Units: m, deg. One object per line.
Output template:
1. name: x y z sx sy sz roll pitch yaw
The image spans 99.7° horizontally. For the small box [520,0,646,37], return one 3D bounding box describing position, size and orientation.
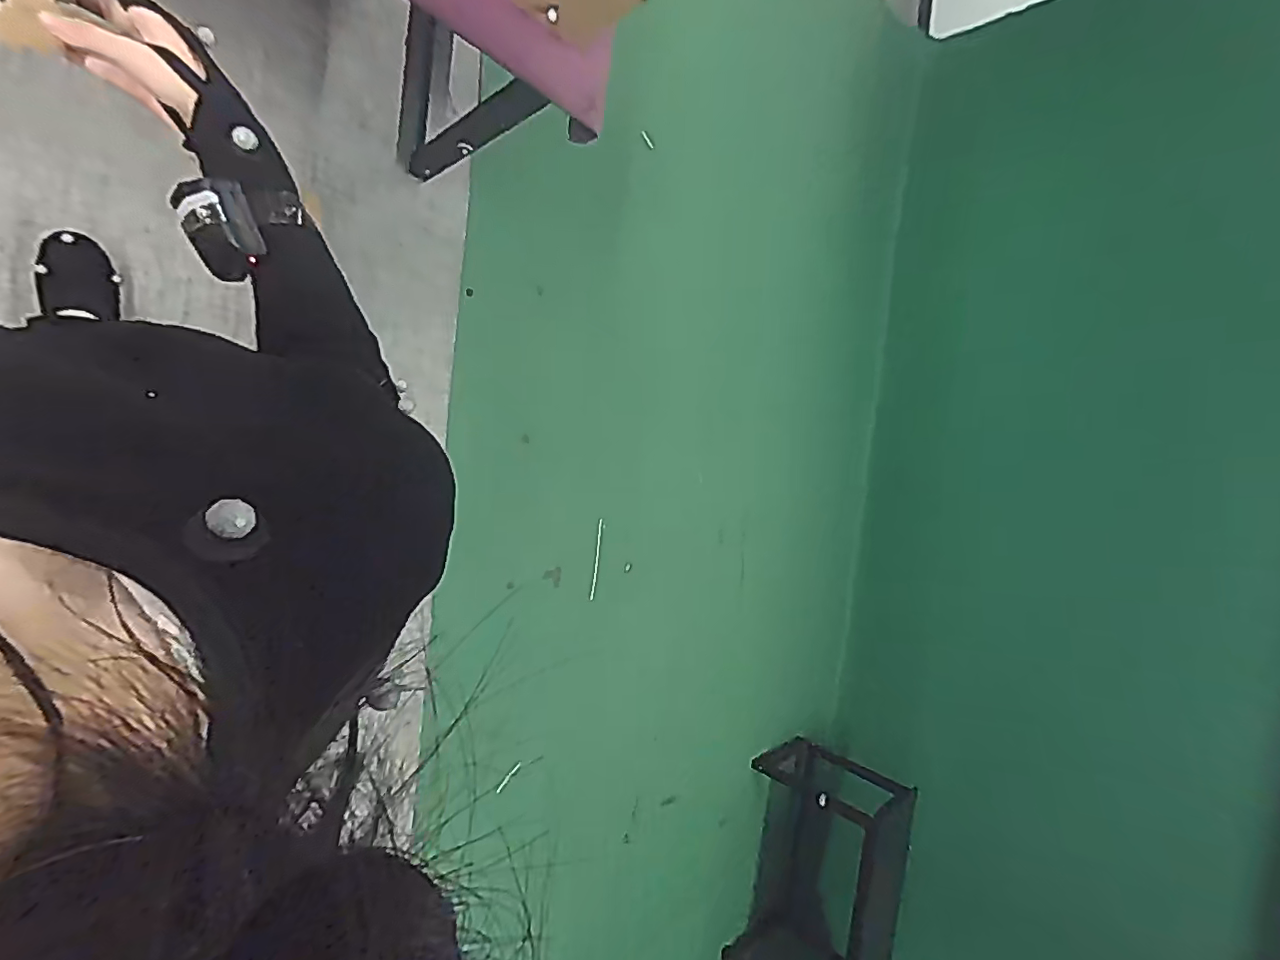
1. small box: -0.099 -0.819 0.812 0.179 0.176 0.168 0 96 -45
